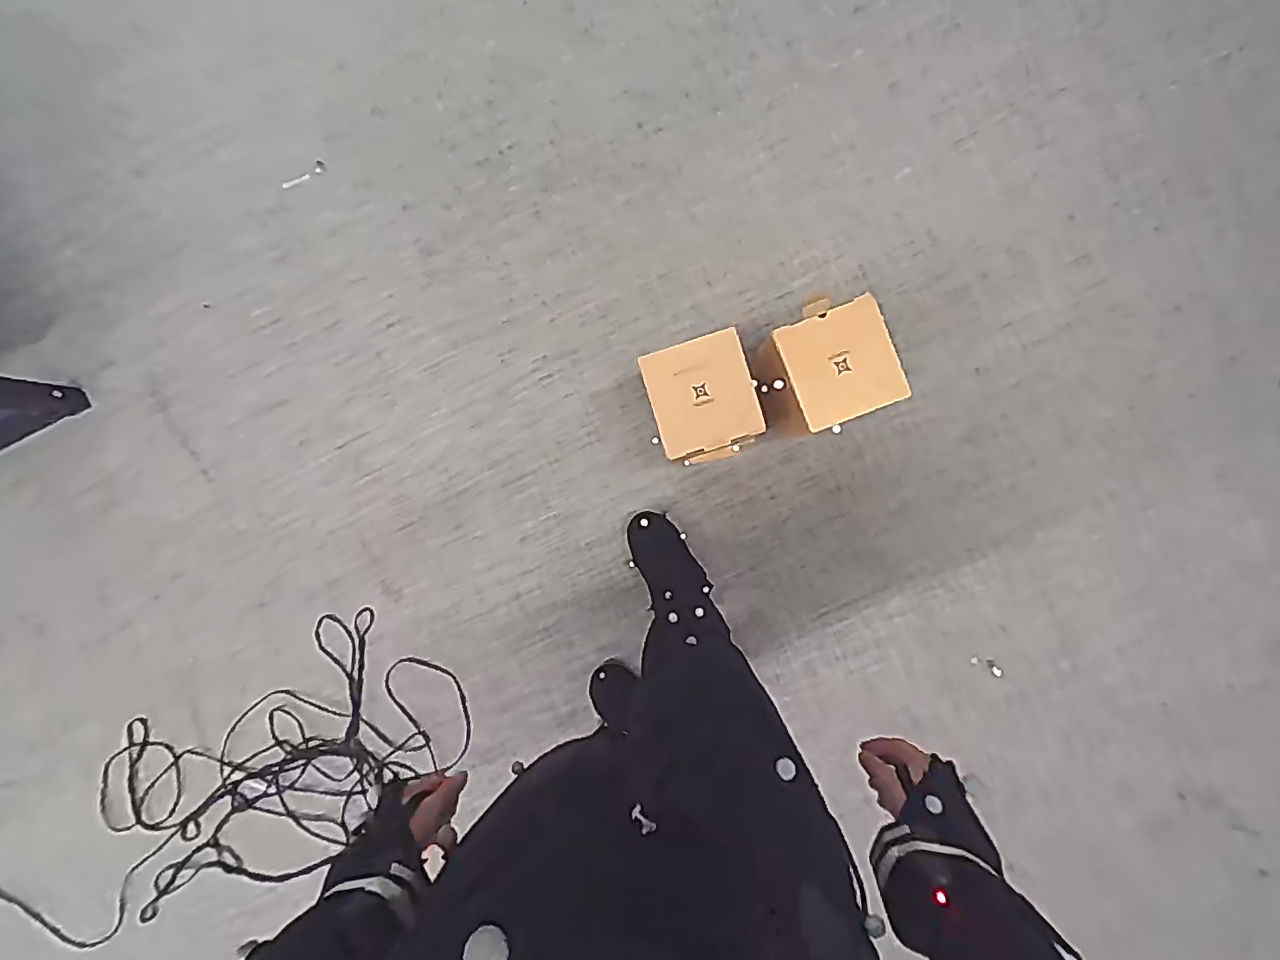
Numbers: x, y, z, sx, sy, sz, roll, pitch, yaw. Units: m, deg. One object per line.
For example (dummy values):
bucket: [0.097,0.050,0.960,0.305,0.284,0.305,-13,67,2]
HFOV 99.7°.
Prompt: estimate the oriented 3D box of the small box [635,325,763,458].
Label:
small box: [0.099,-0.141,0.935,0.168,0.176,0.179,-17,88,3]

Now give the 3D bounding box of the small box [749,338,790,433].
small box: [0.331,-0.206,1.081,0.168,0.176,0.179,-21,89,3]

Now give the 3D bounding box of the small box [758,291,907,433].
small box: [0.315,-0.186,0.919,0.168,0.176,0.179,-21,89,4]
